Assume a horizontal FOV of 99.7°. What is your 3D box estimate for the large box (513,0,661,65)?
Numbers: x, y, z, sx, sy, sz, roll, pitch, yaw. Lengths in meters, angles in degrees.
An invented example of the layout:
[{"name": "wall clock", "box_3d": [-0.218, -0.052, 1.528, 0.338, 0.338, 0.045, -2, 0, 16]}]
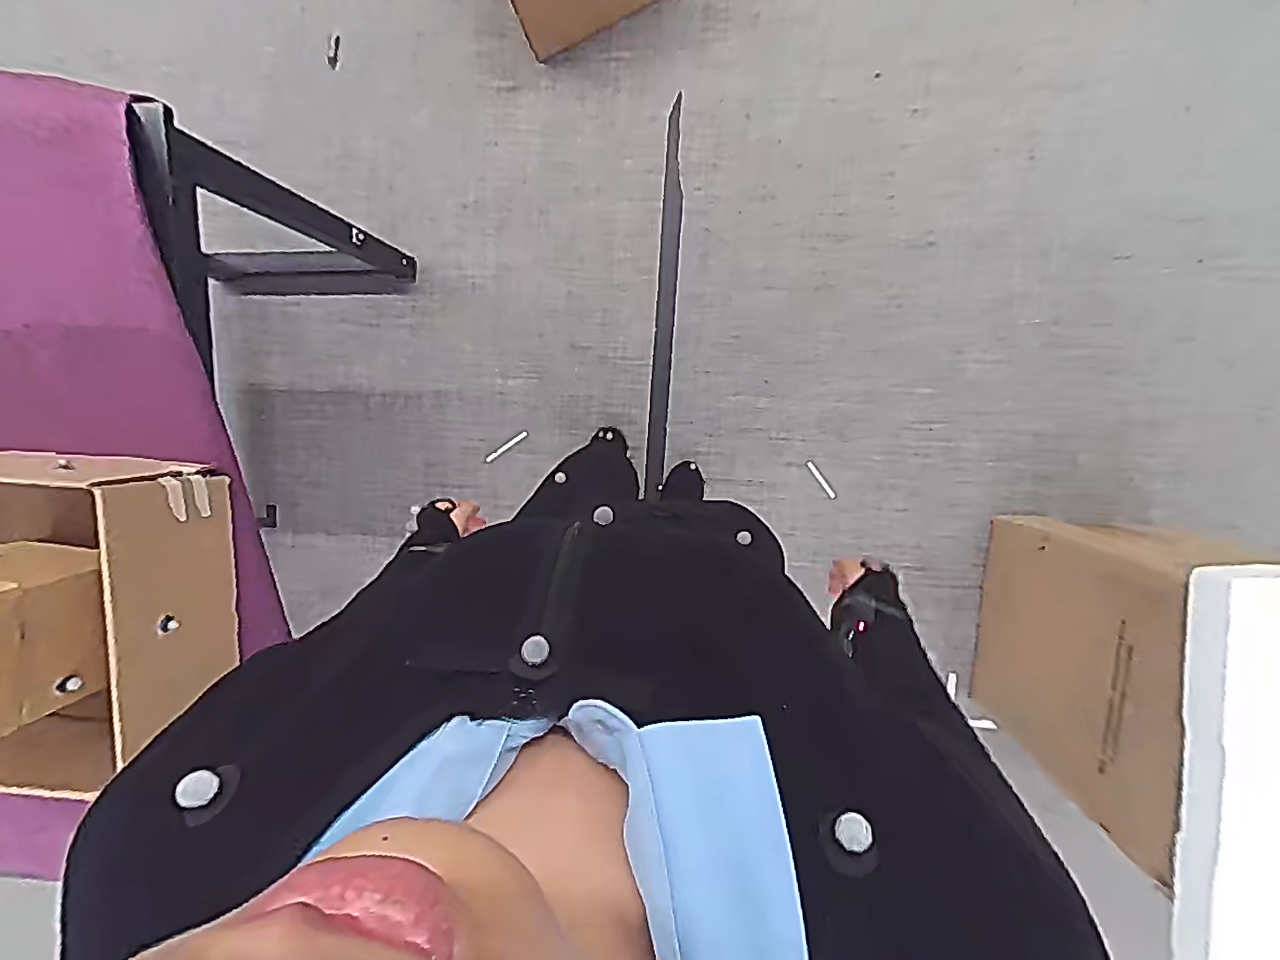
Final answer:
[{"name": "large box", "box_3d": [-0.139, -1.236, 1.178, 0.408, 0.320, 0.320, -23, 94, 8]}]
